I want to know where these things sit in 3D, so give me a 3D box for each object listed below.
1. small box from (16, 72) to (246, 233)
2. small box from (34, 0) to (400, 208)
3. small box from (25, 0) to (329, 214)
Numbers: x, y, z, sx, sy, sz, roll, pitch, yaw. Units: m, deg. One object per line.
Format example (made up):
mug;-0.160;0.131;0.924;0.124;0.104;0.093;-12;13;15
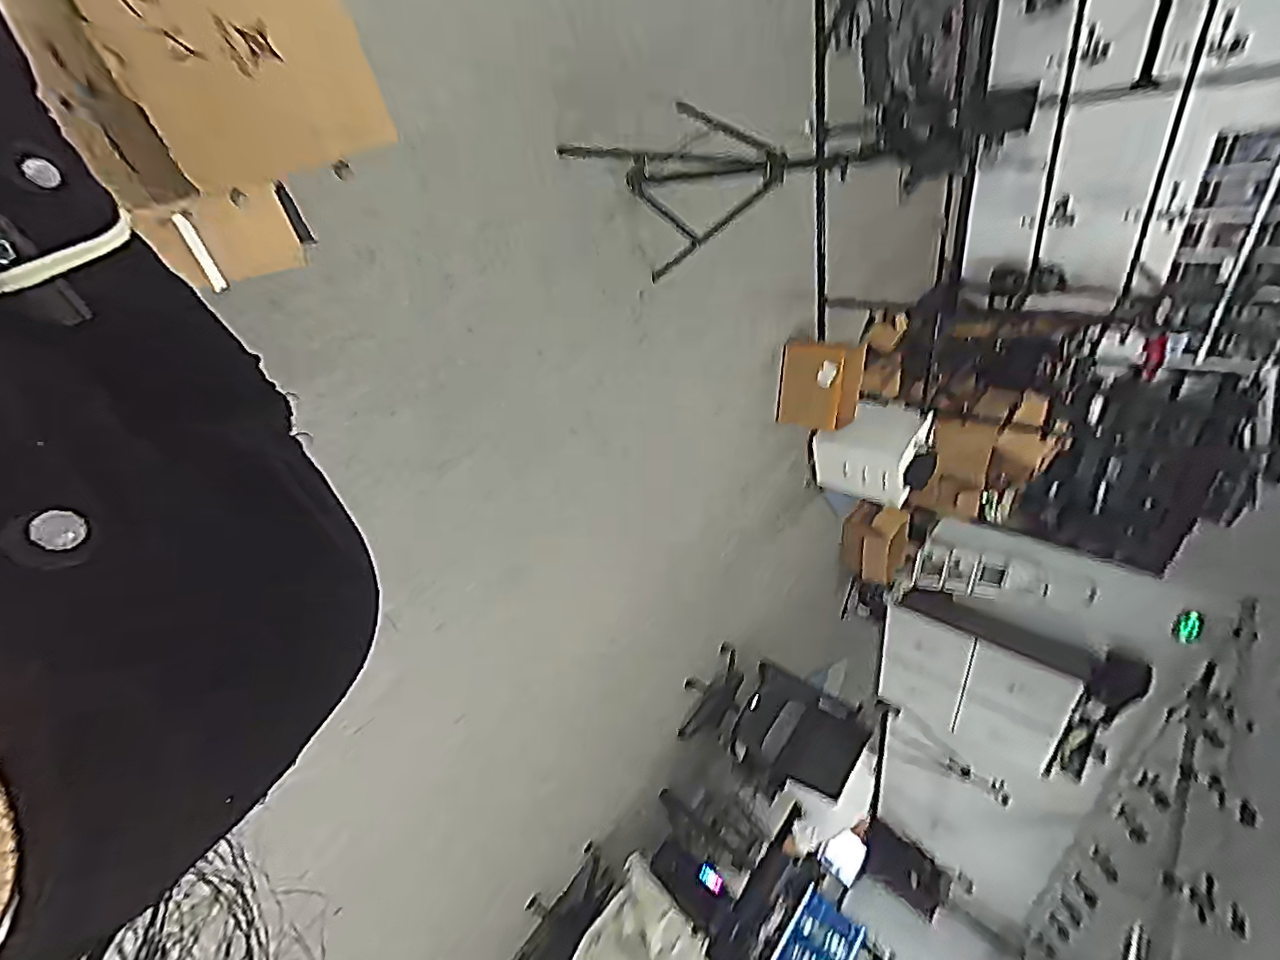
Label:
small box;-0.715;-0.463;0.766;0.168;0.176;0.179;-39;133;-31
small box;-0.350;-0.343;0.459;0.179;0.176;0.168;-39;132;-30
small box;-0.472;-0.386;0.561;0.179;0.176;0.168;-38;132;-31
